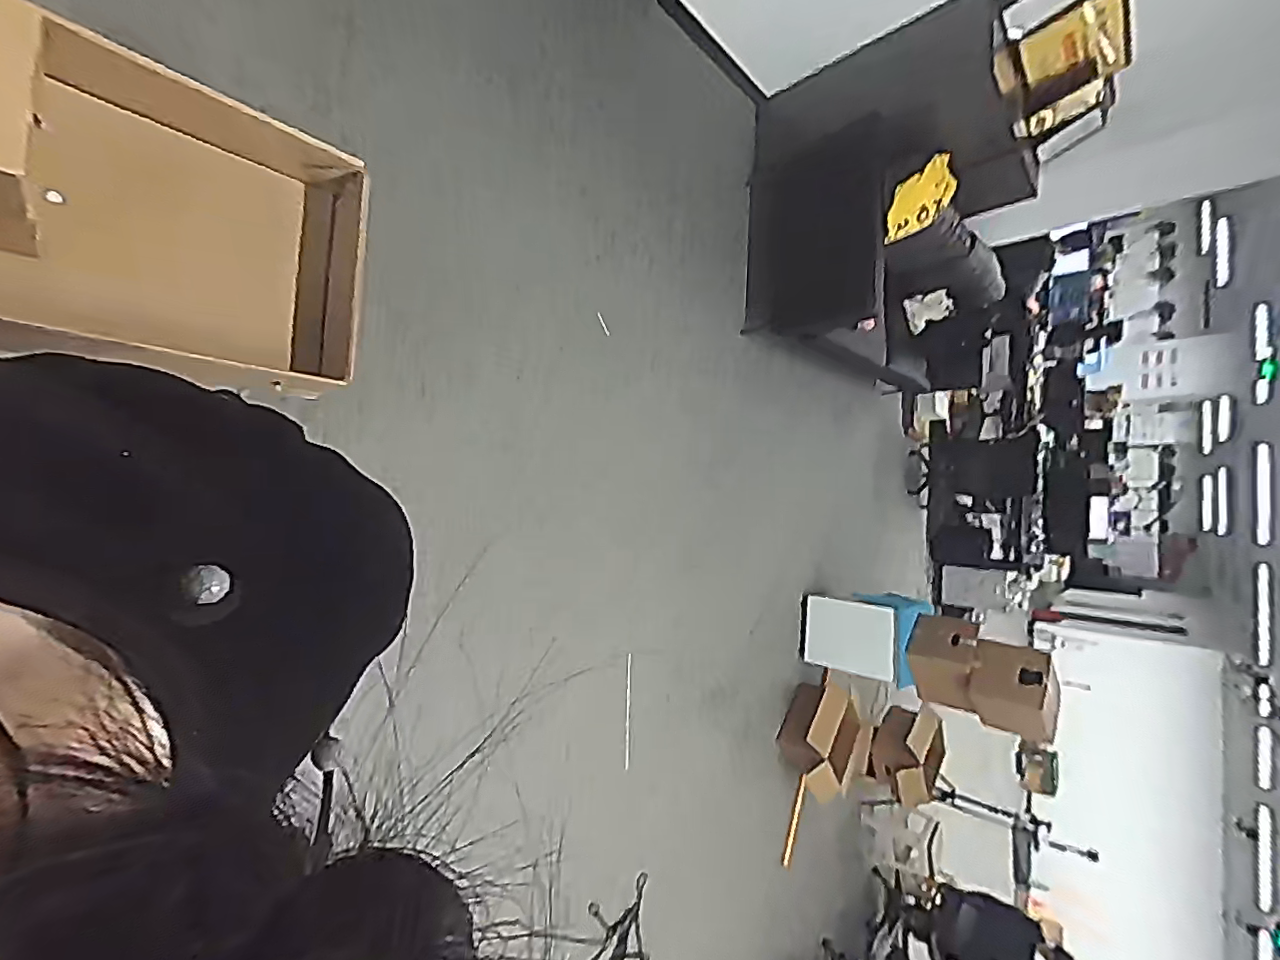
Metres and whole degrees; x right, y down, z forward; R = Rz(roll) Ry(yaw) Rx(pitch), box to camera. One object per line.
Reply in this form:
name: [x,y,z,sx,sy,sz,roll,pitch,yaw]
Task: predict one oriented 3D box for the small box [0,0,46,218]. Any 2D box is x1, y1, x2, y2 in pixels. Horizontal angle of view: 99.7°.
small box: [-0.704,-0.386,0.520,0.168,0.176,0.179,7,85,-47]
